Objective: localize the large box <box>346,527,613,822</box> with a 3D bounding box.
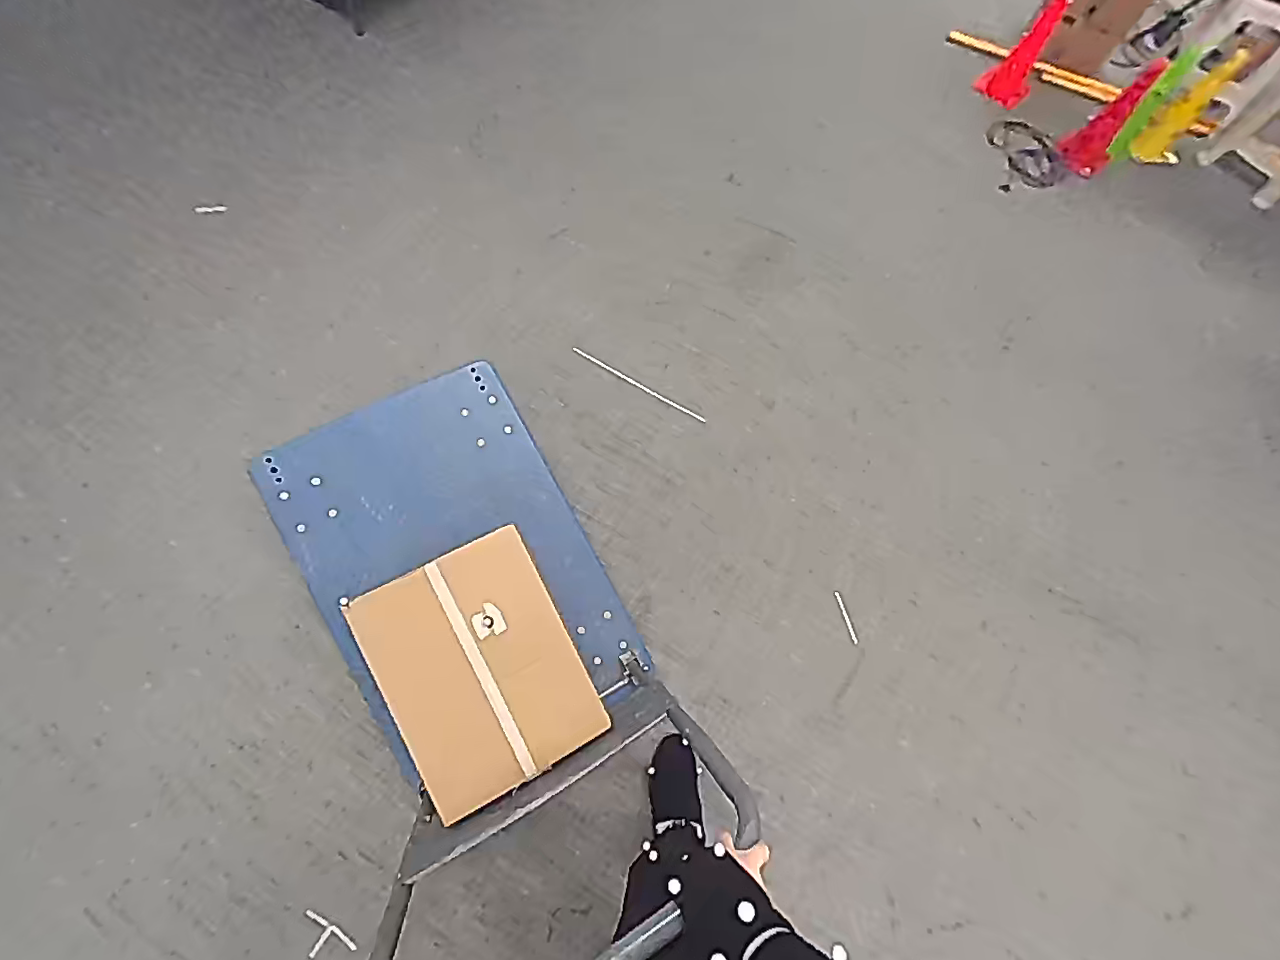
[{"bbox_3d":[-0.293,0.347,1.073,0.320,0.320,0.408,-27,87,-14],"label":"large box"}]
